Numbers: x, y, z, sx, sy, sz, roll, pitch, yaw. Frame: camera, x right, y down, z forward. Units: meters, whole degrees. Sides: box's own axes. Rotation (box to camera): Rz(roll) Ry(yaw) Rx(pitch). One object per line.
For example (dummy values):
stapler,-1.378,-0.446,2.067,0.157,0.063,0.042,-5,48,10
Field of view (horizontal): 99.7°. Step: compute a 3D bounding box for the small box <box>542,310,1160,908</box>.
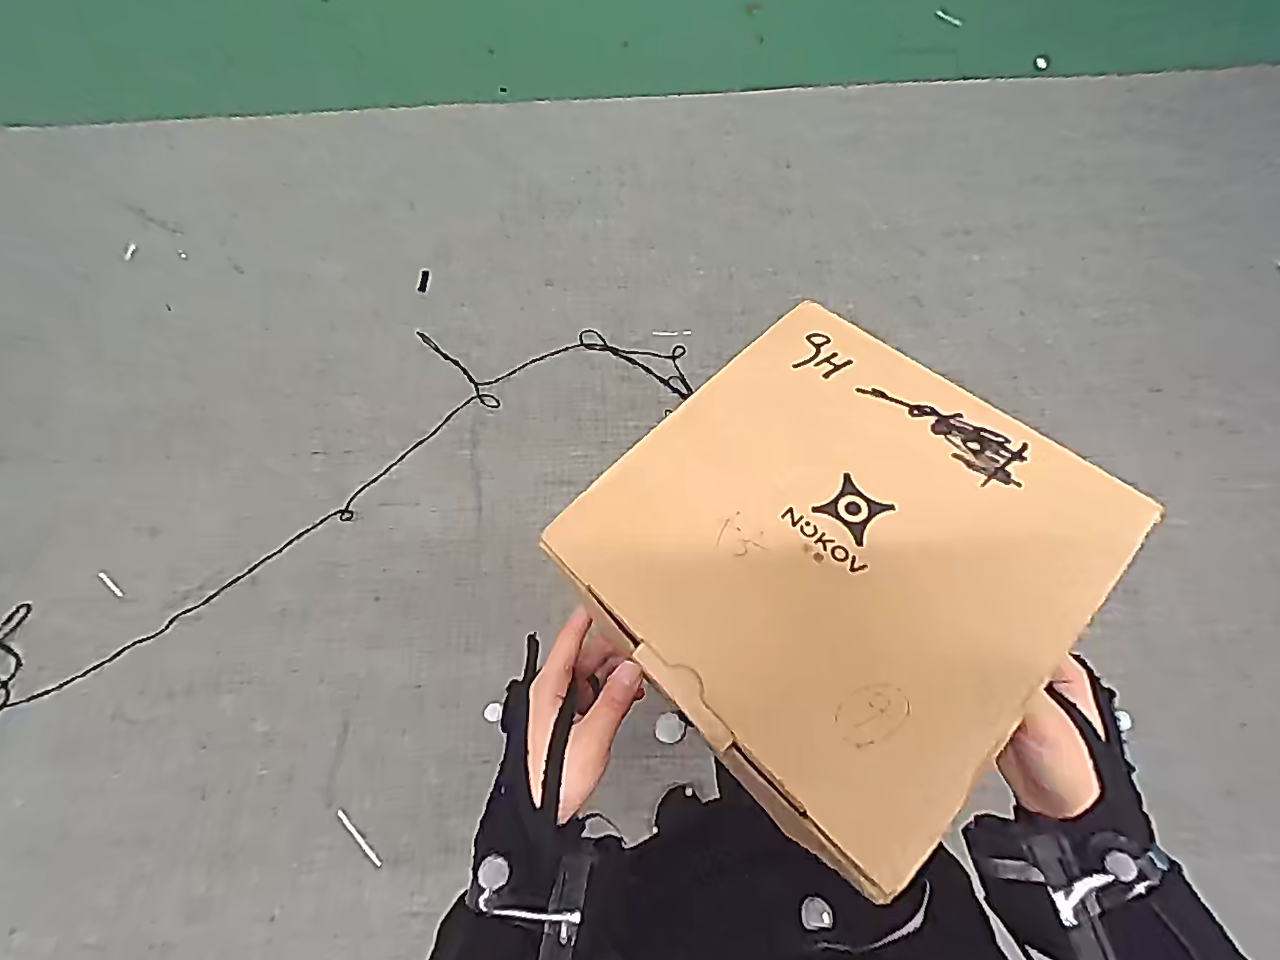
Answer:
small box,0.084,0.059,0.279,0.179,0.176,0.168,-42,66,-14
